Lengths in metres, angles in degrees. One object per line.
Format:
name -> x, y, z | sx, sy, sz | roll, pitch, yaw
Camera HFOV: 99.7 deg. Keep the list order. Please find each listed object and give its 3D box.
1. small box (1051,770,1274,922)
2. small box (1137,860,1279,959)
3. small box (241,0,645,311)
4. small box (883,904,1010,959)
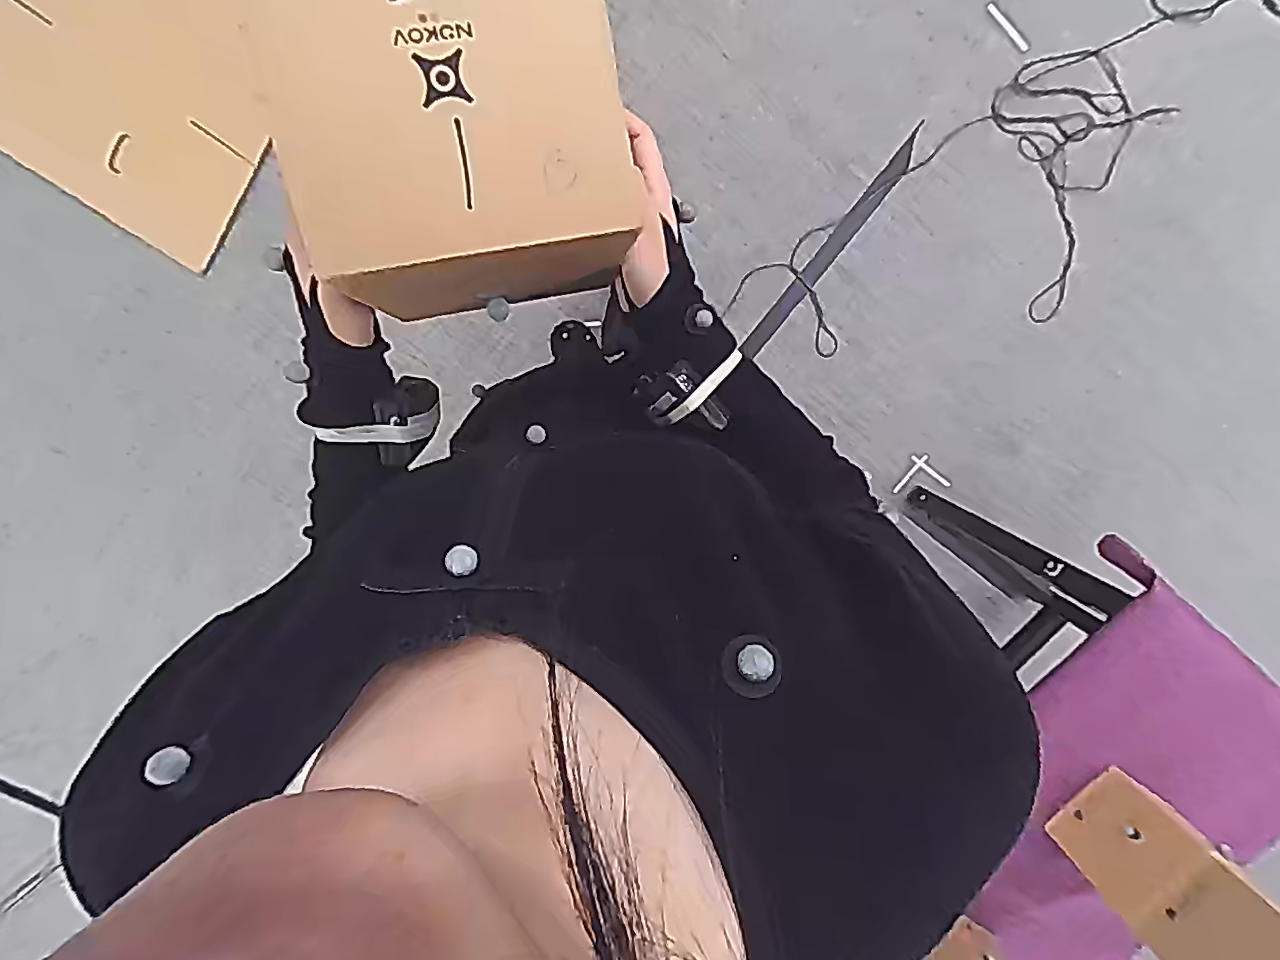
small box -> 0.849, 0.624, 0.899 | 0.179, 0.176, 0.168 | 35, 101, -13
small box -> 0.865, 0.674, 0.743 | 0.179, 0.176, 0.168 | 33, 101, -13
small box -> -0.104, -0.213, 0.327 | 0.168, 0.176, 0.179 | -12, 102, -7
small box -> 0.577, 0.915, 0.964 | 0.168, 0.176, 0.179 | 38, 101, -12
